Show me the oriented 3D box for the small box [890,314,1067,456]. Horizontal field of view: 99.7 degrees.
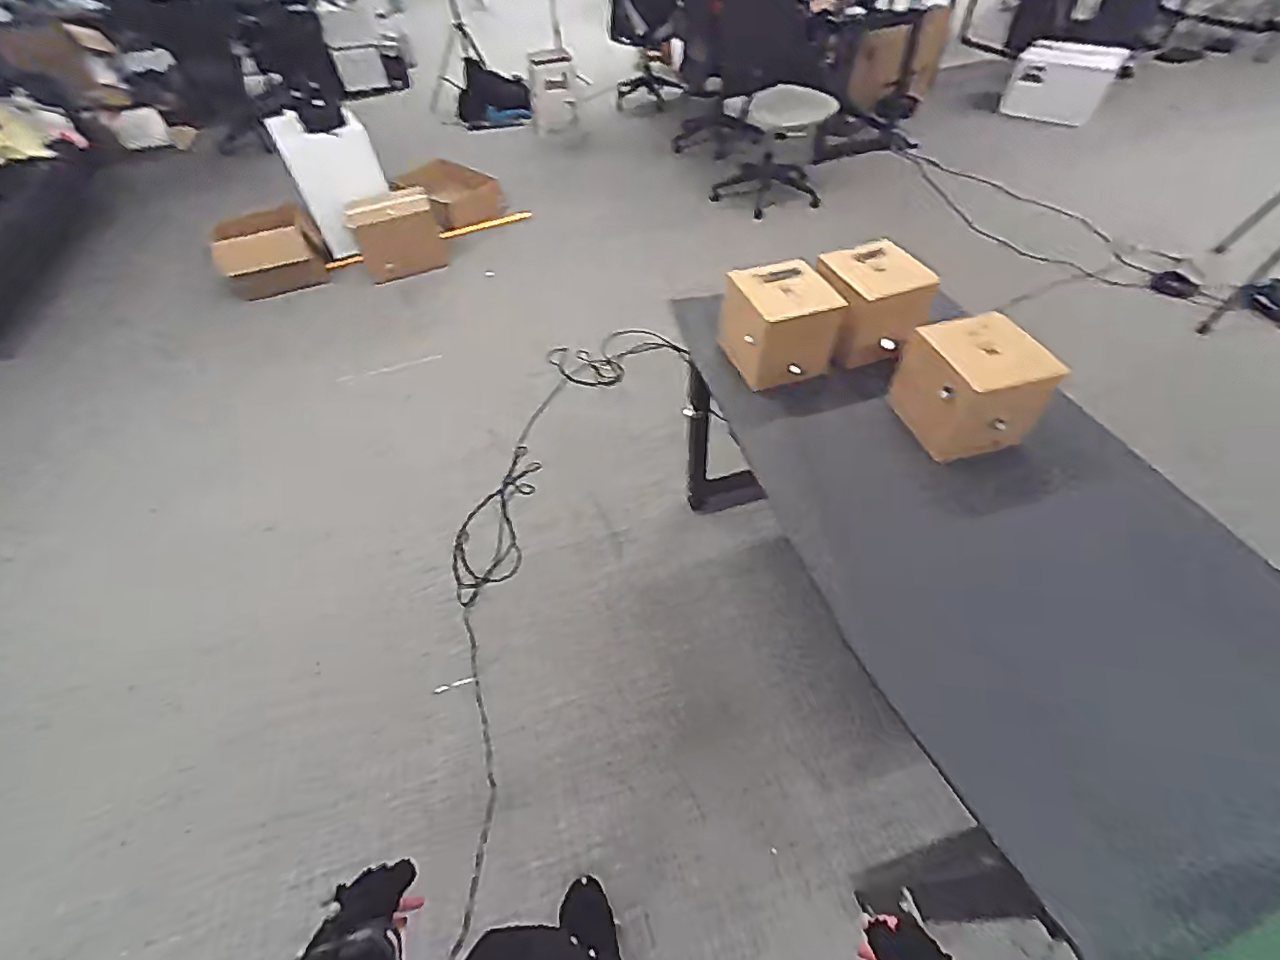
[{"bbox_3d":[0.573,-0.159,0.946,0.168,0.176,0.179,-12,51,-7],"label":"small box"}]
